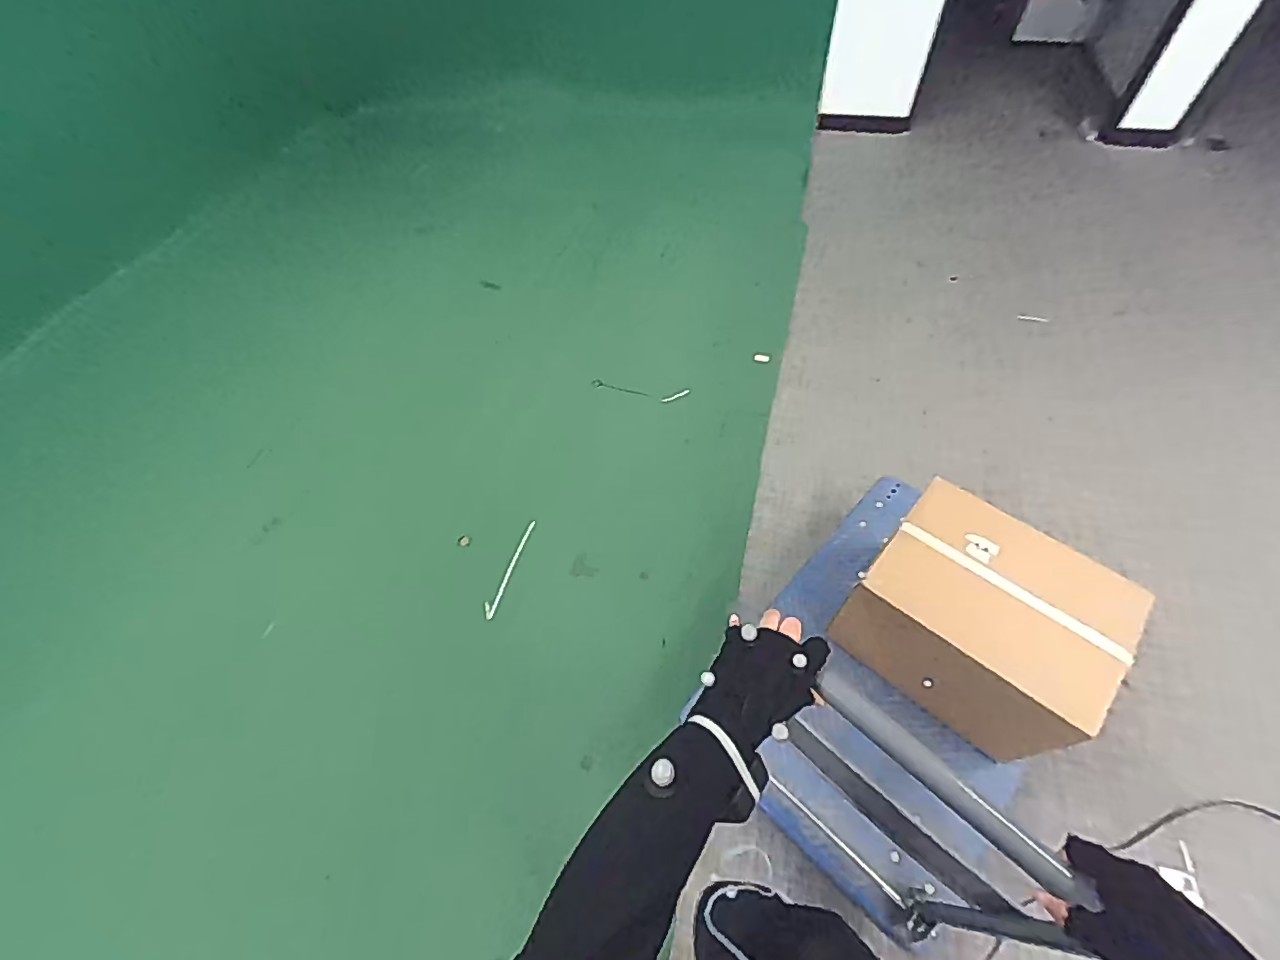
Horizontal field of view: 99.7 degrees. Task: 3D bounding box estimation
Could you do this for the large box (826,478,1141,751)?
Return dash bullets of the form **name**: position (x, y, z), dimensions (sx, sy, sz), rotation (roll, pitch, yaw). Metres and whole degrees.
- **large box**: position (0.663, 0.275, 1.110), dimensions (0.408, 0.320, 0.320), rotation (34, 64, 25)
